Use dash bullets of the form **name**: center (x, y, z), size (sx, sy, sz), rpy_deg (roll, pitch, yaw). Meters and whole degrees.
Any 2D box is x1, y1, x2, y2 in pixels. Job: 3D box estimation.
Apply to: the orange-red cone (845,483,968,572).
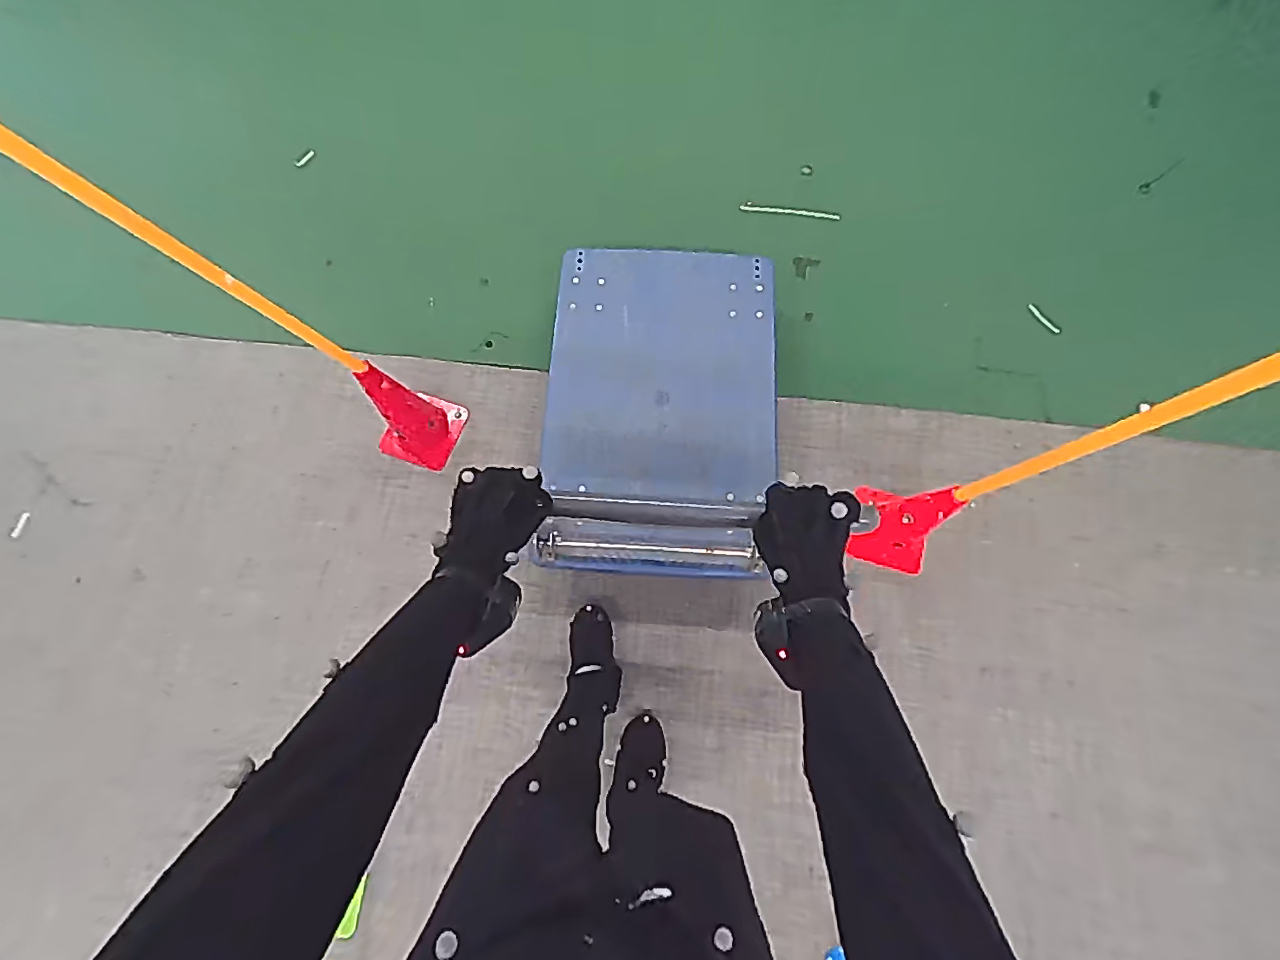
- **orange-red cone**: center (0.645, 0.076, 1.250), size (0.198, 0.360, 0.199), rpy_deg (17, 75, 7)
